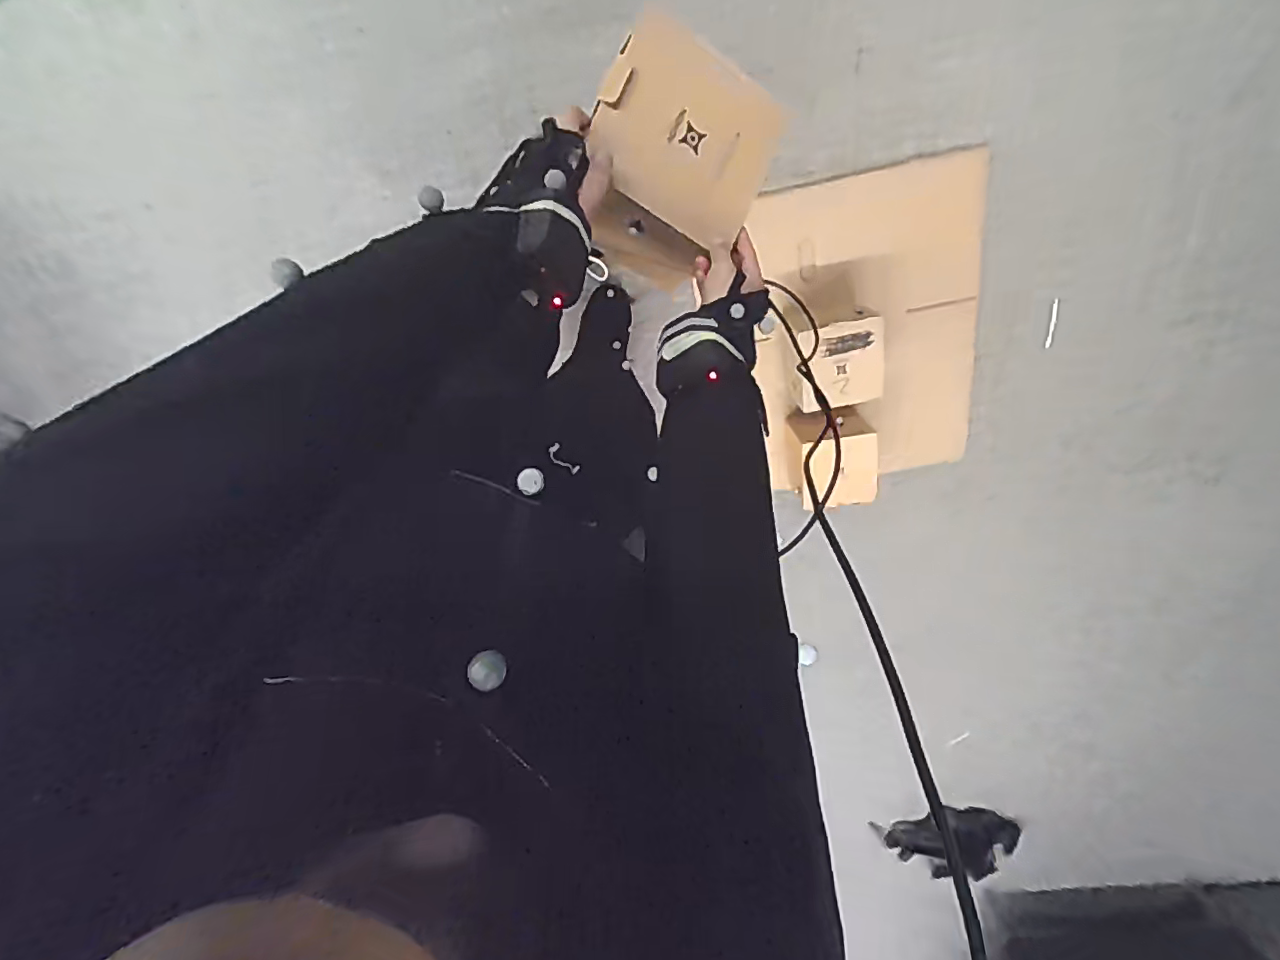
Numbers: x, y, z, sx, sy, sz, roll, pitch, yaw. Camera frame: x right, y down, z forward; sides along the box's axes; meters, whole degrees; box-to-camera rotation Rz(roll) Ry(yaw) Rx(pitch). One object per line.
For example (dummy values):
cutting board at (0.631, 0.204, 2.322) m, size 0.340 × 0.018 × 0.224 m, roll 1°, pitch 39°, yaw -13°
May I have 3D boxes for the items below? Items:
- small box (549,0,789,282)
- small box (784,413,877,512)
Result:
small box at (0.018, -0.338, 0.586) m, size 0.179 × 0.176 × 0.168 m, roll 24°, pitch 91°, yaw -21°
small box at (0.441, -0.048, 1.271) m, size 0.168 × 0.176 × 0.179 m, roll -8°, pitch 117°, yaw 5°
